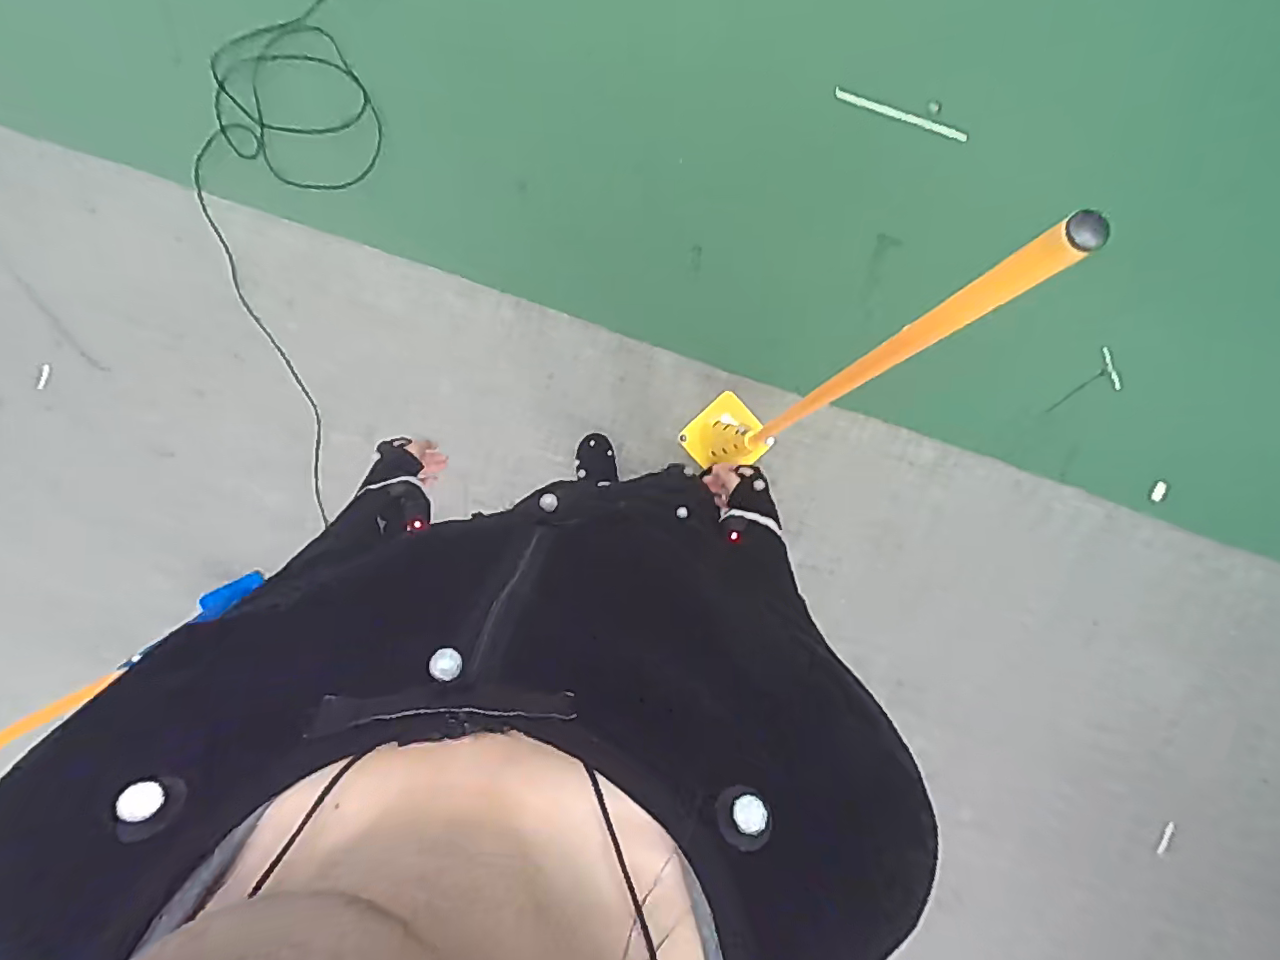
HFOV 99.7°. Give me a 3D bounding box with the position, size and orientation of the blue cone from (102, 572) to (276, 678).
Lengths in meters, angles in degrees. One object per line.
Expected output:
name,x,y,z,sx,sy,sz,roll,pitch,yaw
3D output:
blue cone,-1.120,0.389,1.330,0.193,0.380,0.192,-27,96,4
